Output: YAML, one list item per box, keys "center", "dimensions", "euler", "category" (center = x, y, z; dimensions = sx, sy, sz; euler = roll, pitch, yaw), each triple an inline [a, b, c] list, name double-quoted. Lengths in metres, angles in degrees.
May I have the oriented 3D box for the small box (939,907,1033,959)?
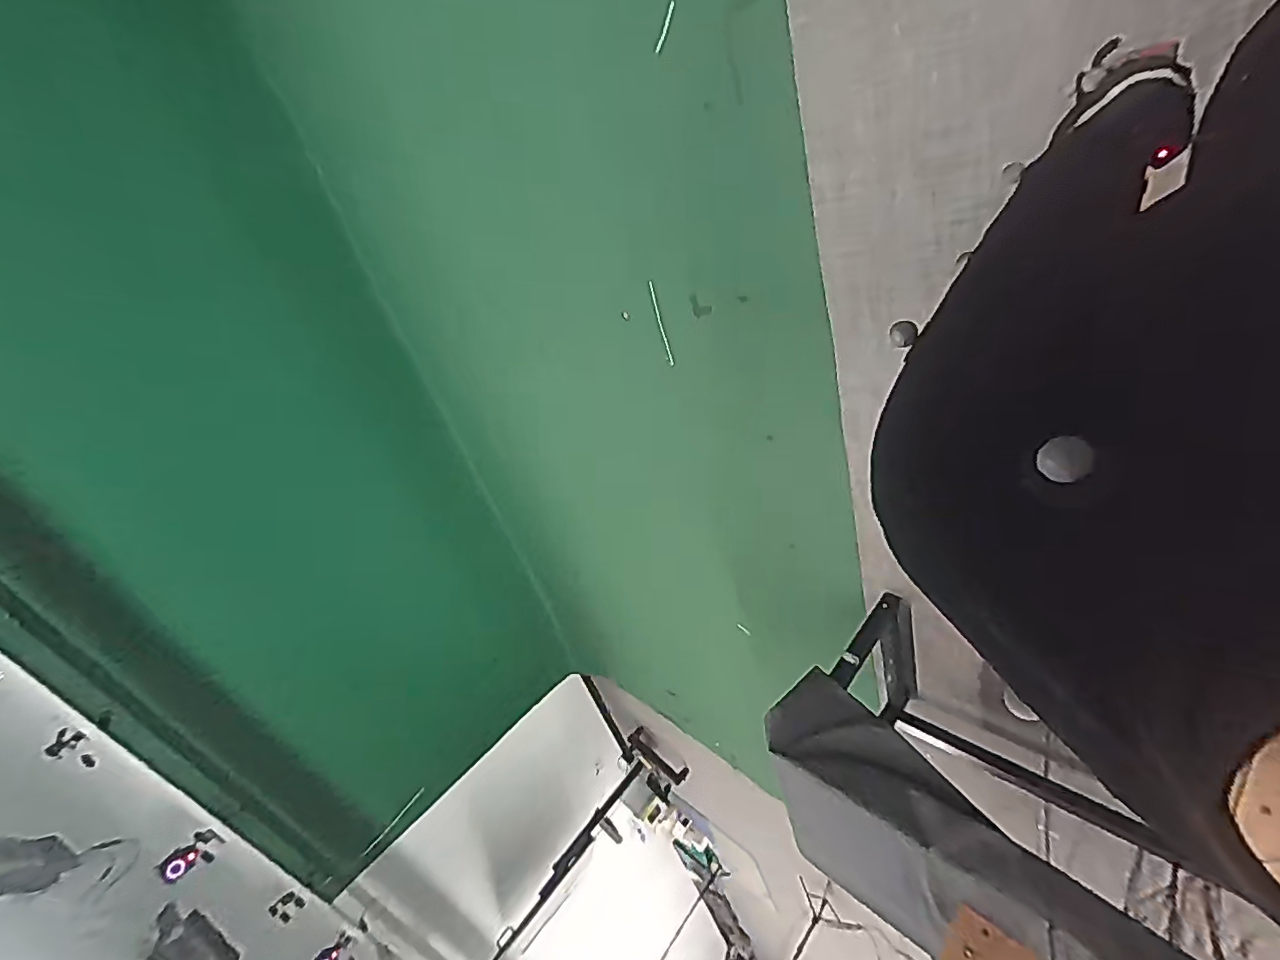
- center: [0.778, 1.123, 1.219]
  dimensions: [0.168, 0.176, 0.179]
  euler: [20, 139, 44]
  category: "small box"
